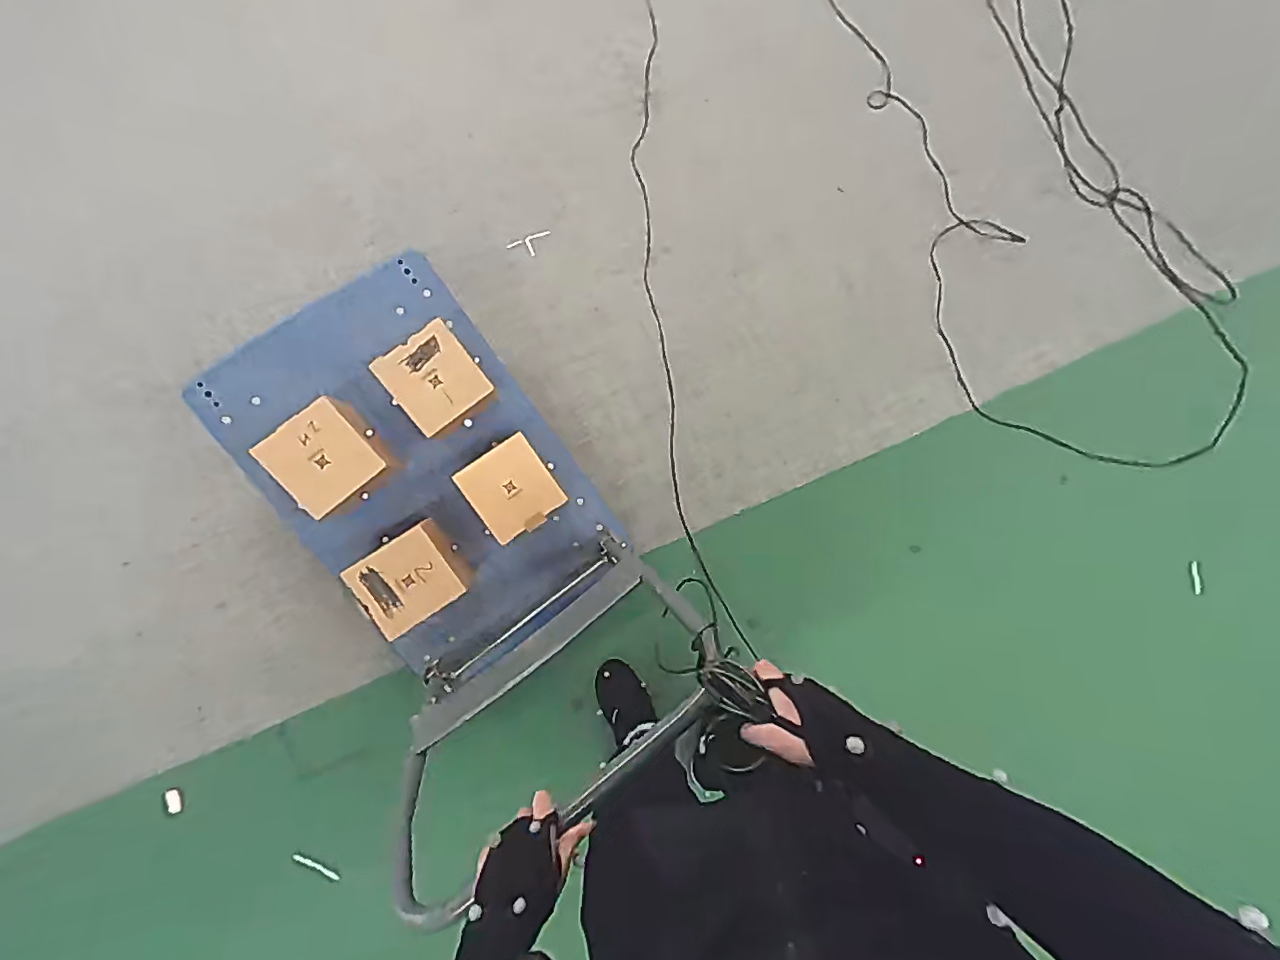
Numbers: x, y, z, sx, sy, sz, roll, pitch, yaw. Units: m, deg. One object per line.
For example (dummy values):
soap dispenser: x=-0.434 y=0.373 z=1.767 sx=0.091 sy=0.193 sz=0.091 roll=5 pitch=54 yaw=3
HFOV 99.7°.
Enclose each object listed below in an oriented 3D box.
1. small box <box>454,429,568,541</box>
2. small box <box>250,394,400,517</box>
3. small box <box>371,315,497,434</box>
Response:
small box: x=-0.277 y=0.009 z=1.169 sx=0.168 sy=0.176 sz=0.179 roll=-36 pitch=100 yaw=-9
small box: x=-0.617 y=-0.050 z=1.089 sx=0.168 sy=0.176 sz=0.179 roll=-41 pitch=100 yaw=-10
small box: x=-0.418 y=-0.209 z=1.127 sx=0.168 sy=0.176 sz=0.179 roll=-38 pitch=100 yaw=-8
